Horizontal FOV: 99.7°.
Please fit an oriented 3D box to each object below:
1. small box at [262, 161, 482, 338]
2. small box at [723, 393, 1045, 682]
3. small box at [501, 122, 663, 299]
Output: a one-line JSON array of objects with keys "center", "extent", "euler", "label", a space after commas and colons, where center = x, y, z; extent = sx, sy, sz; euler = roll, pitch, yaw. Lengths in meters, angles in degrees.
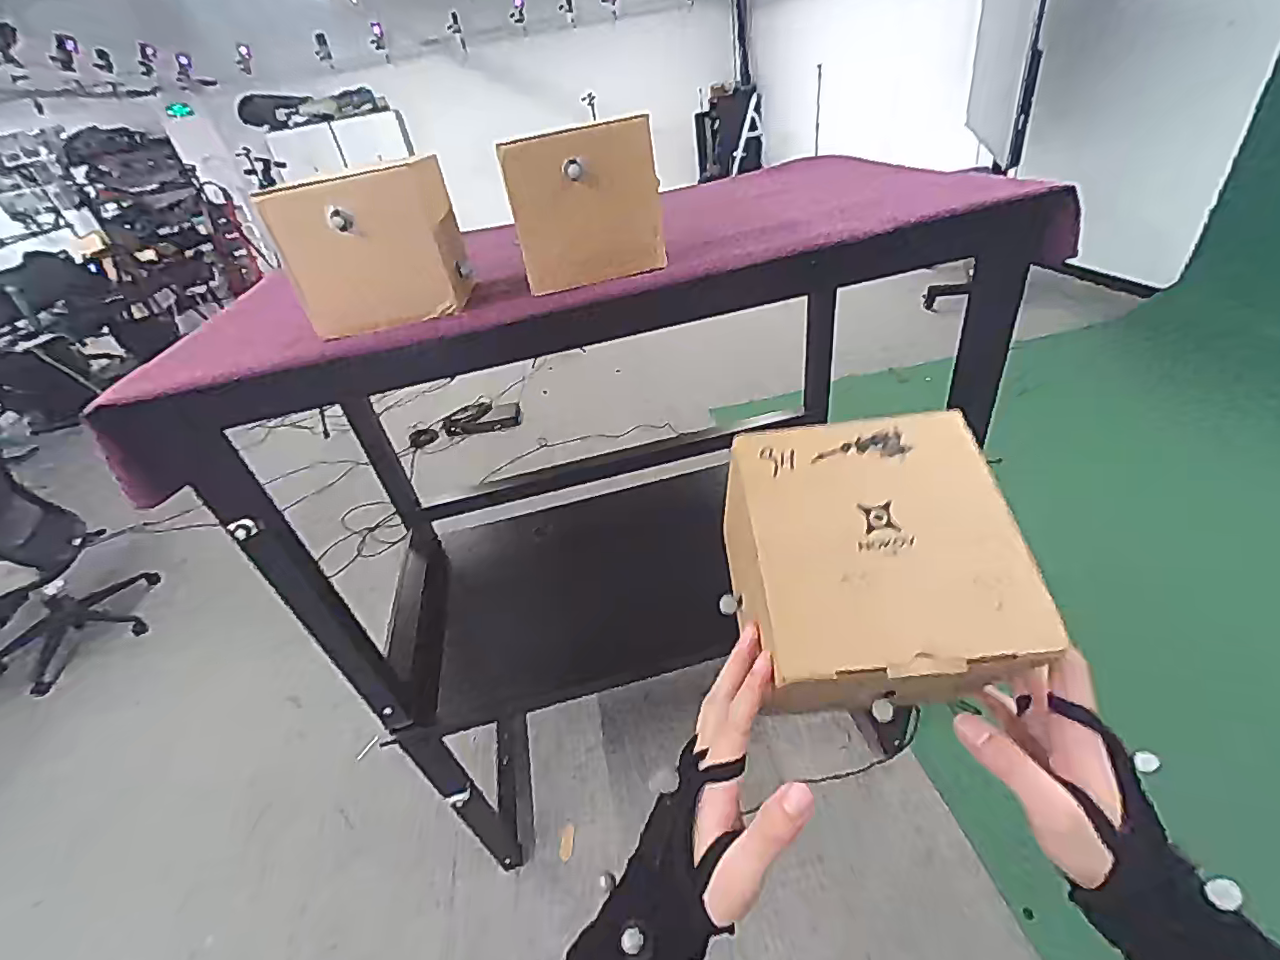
[{"center": [-0.322, -0.294, 0.693], "extent": [0.179, 0.176, 0.168], "euler": [-11, 35, -1], "label": "small box"}, {"center": [0.160, 0.058, 0.429], "extent": [0.168, 0.176, 0.179], "euler": [-6, 61, 3], "label": "small box"}, {"center": [-0.073, -0.356, 0.712], "extent": [0.179, 0.176, 0.168], "euler": [-15, 34, -4], "label": "small box"}]
